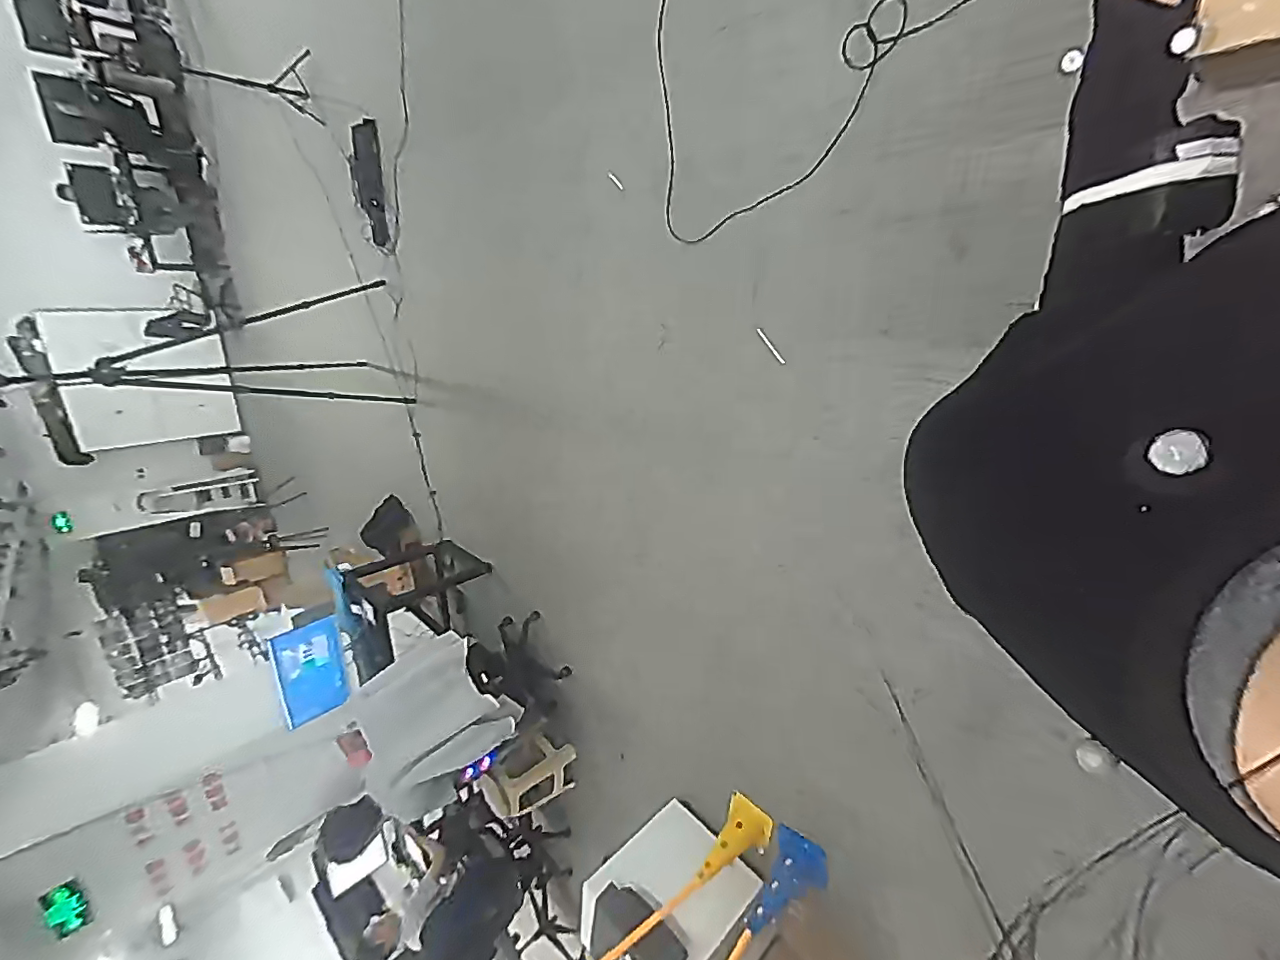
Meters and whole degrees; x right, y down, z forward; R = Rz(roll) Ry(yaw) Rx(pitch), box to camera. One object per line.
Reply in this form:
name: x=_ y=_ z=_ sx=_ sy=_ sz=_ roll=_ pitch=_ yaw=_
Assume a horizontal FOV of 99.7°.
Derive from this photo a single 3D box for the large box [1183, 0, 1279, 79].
large box: x=0.583 y=-0.440 z=0.253 sx=0.408 sy=0.320 sz=0.320 roll=16 pitch=123 yaw=43
